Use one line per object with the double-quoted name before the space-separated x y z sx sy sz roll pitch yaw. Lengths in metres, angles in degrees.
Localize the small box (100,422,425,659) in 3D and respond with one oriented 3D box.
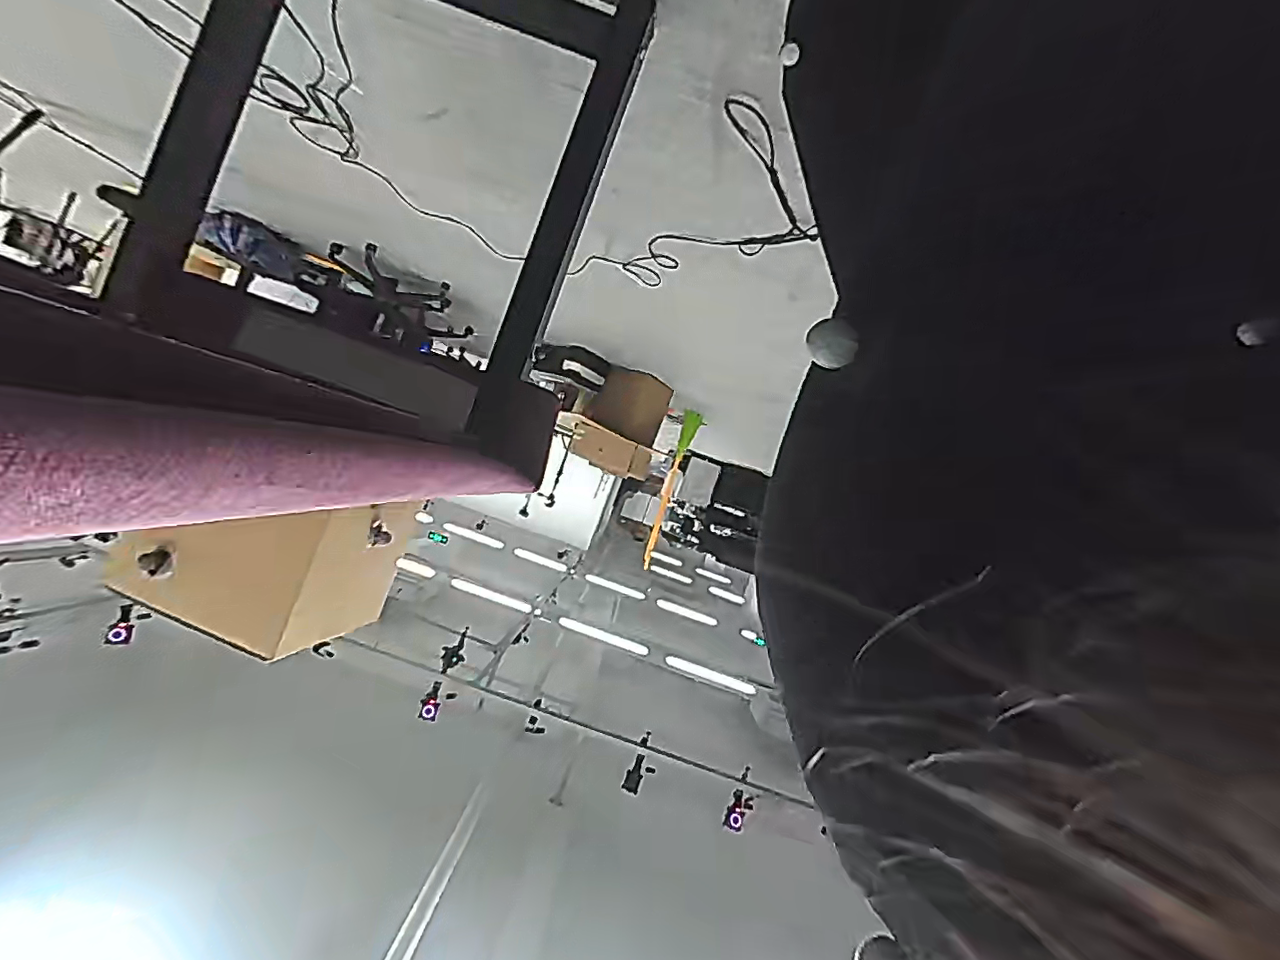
"small box" -0.351 0.047 0.538 0.179 0.176 0.168 20 179 3
